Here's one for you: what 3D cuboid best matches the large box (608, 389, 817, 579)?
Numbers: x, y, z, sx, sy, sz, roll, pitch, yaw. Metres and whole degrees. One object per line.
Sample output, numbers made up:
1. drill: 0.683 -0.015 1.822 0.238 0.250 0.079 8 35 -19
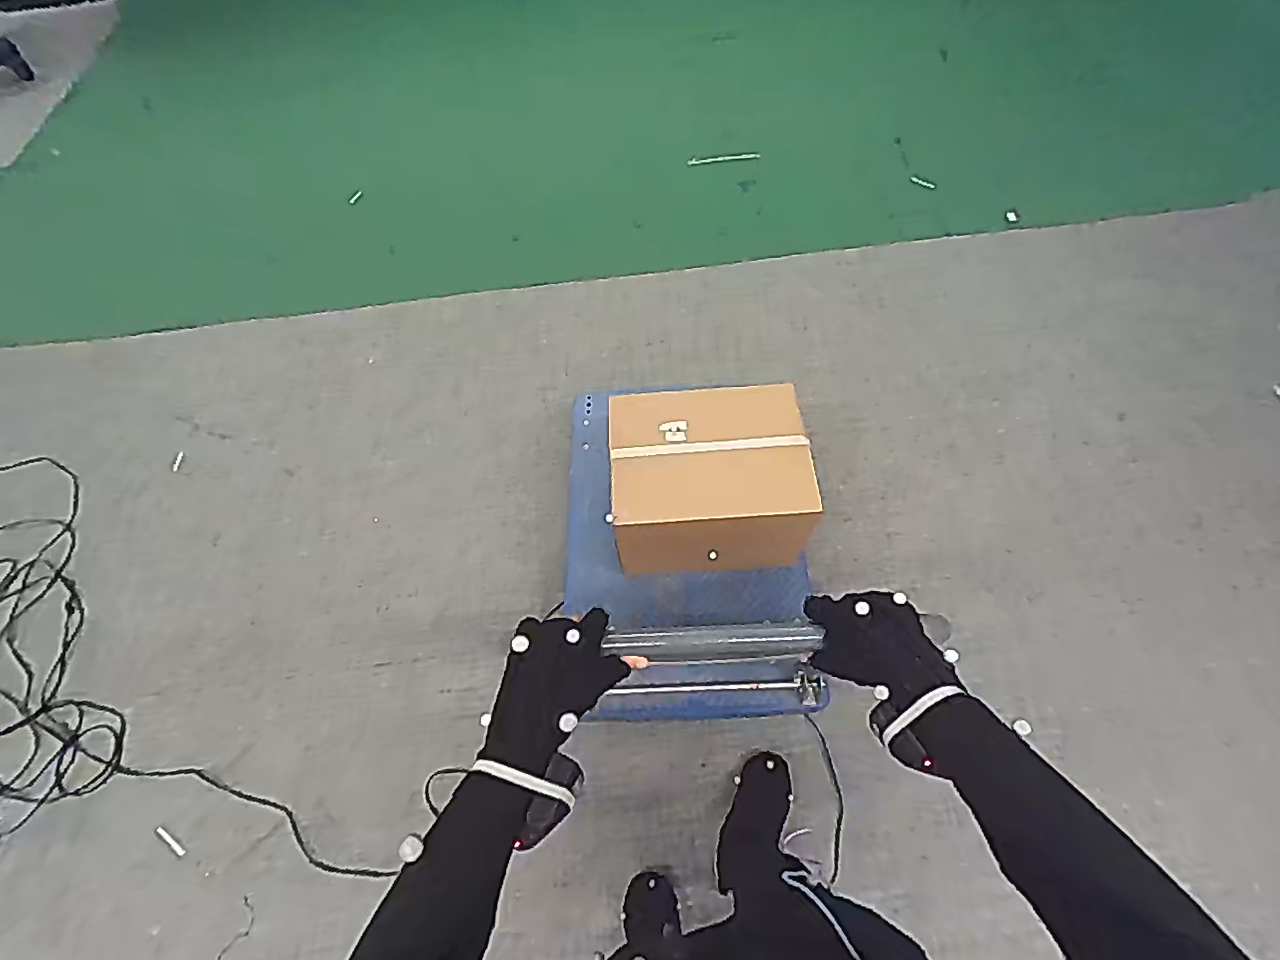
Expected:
1. large box: 0.149 0.022 1.248 0.408 0.320 0.320 -5 60 2
